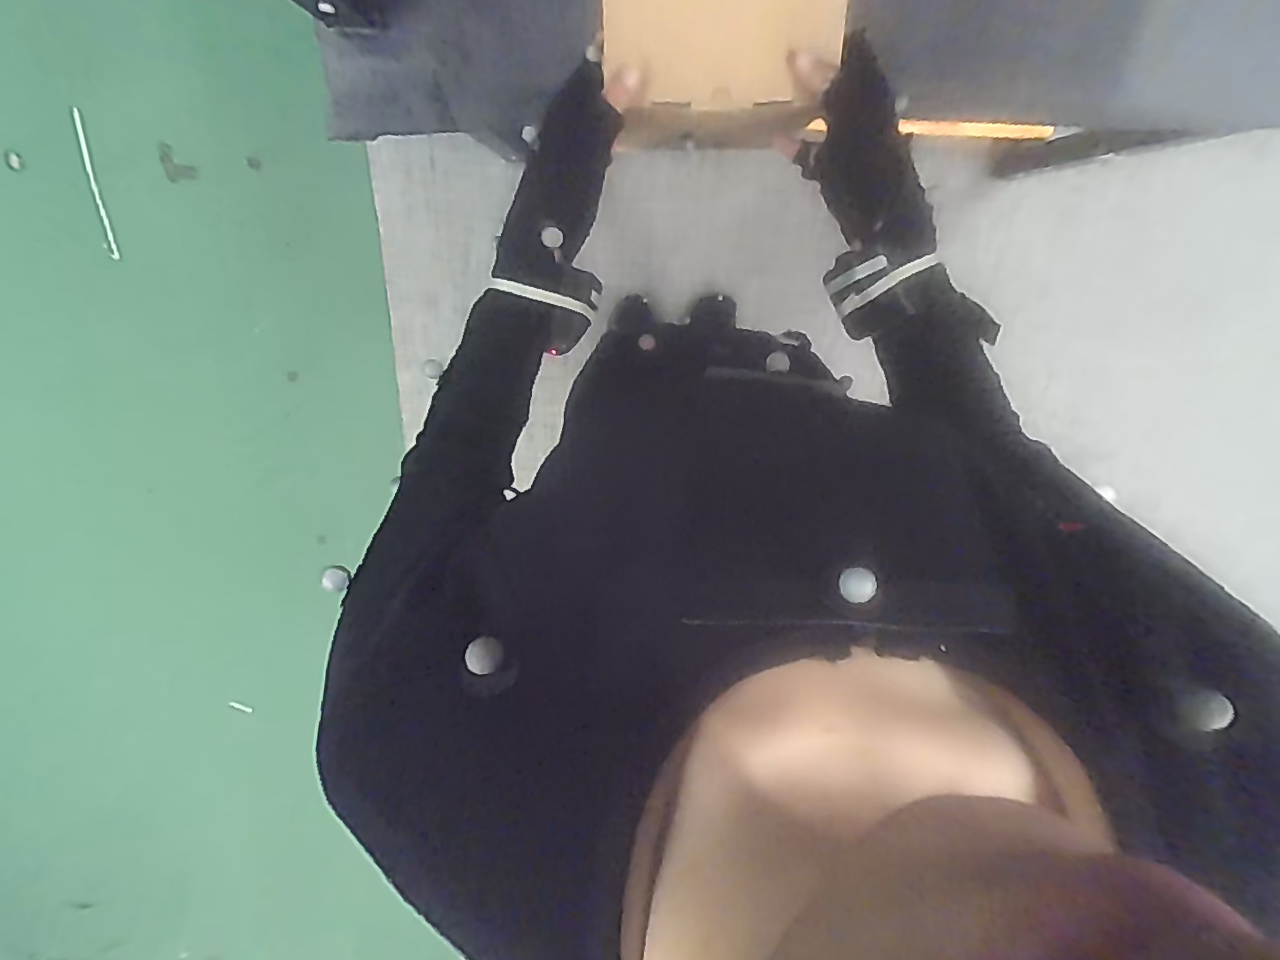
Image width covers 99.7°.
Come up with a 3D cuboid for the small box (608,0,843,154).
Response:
[{"bbox_3d":[0.058,-0.383,0.438,0.168,0.176,0.179,-1,111,0],"label":"small box"}]
